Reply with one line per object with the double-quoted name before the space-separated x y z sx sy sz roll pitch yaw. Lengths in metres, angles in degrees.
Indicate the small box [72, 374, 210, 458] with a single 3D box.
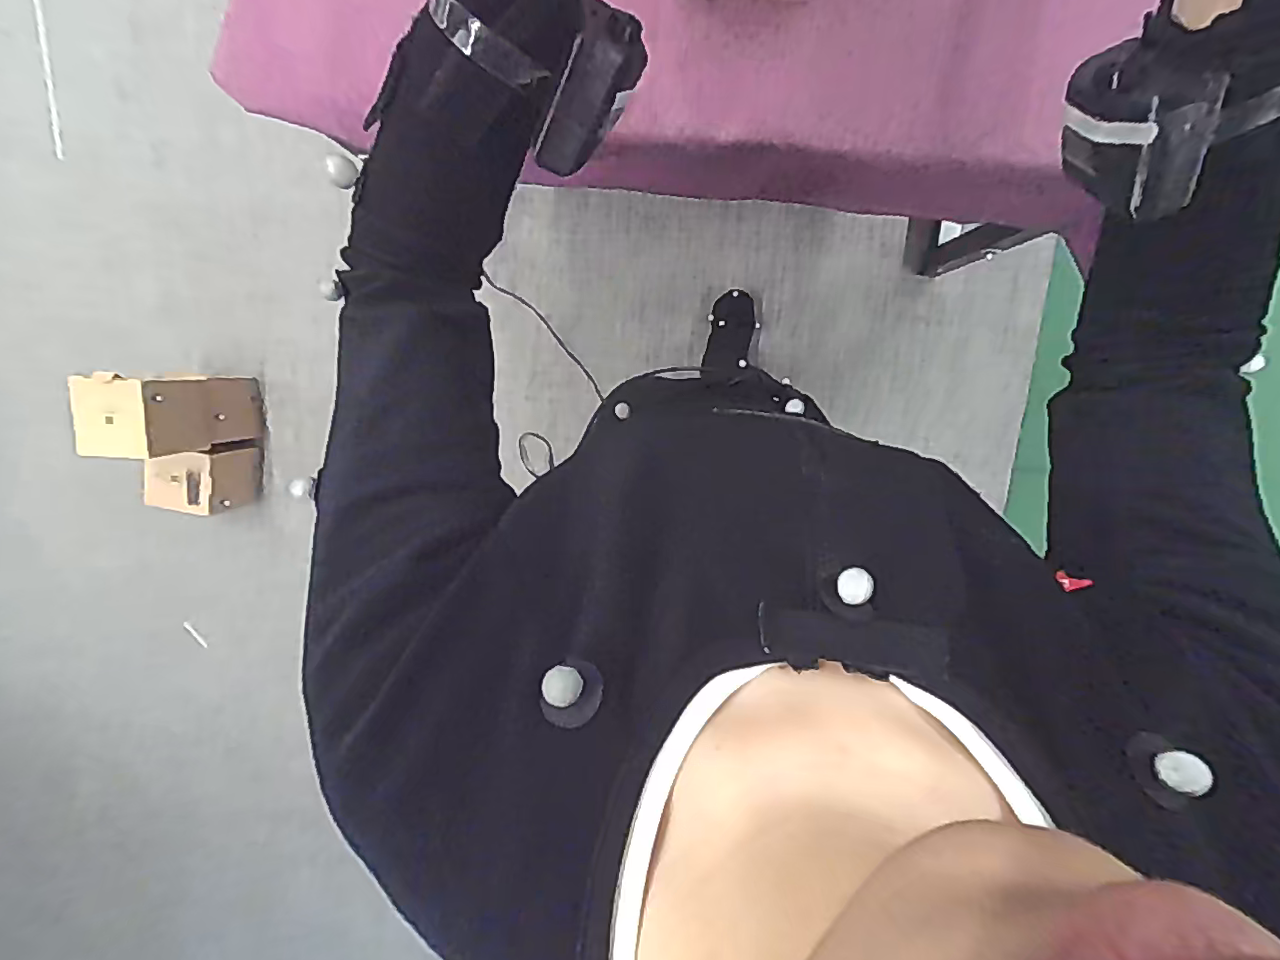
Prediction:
"small box" -1.144 -0.154 1.255 0.168 0.176 0.179 3 100 2
